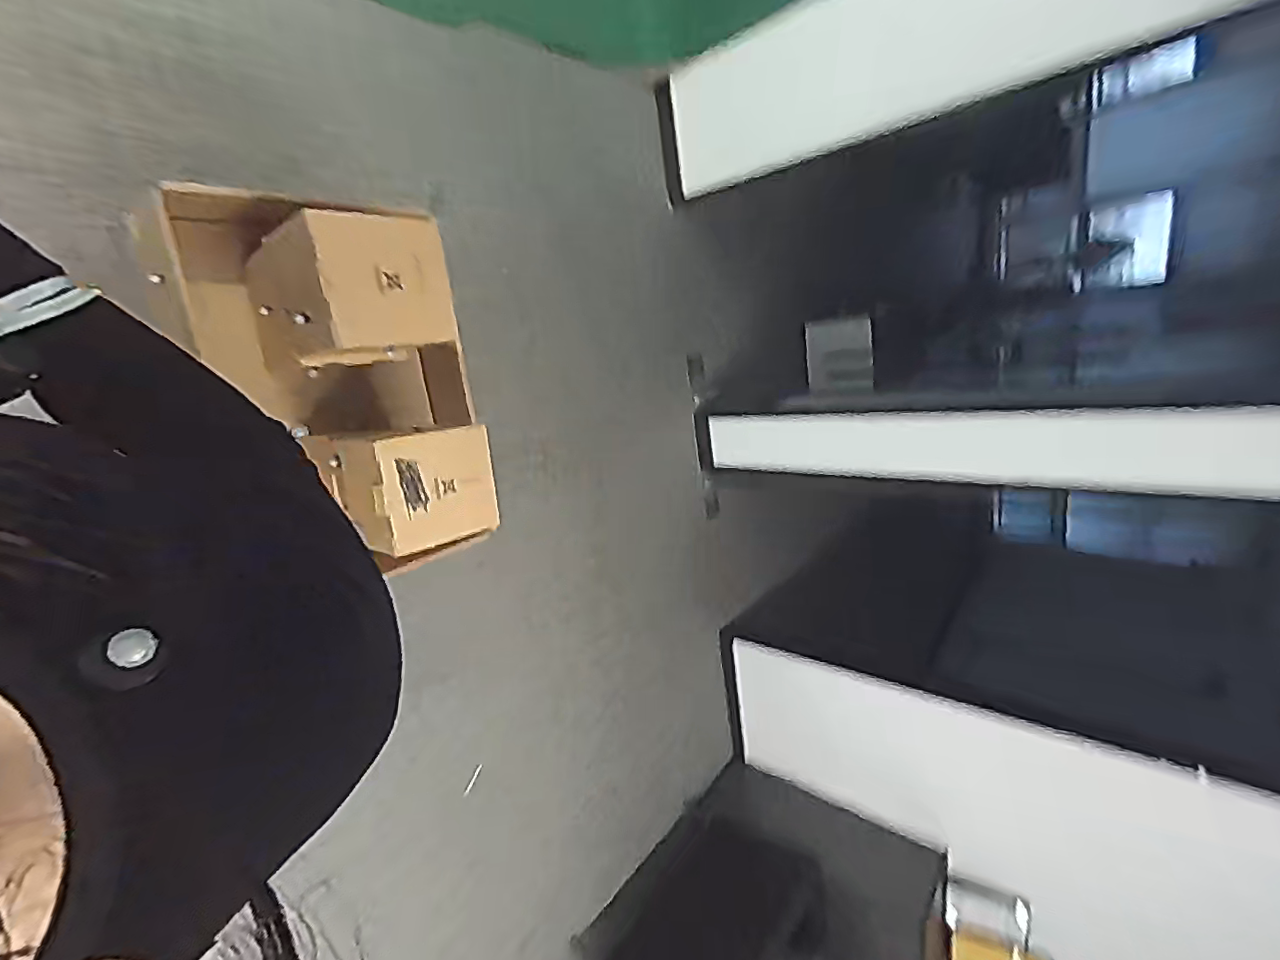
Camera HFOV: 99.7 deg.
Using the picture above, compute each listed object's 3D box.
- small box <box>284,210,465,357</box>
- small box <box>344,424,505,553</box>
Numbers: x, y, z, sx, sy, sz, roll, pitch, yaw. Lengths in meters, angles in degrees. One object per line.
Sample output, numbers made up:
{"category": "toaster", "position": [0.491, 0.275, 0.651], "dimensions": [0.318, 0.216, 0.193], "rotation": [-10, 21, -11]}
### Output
{"category": "small box", "position": [-0.385, -0.270, 0.778], "dimensions": [0.179, 0.176, 0.168], "rotation": [-20, 109, -46]}
{"category": "small box", "position": [-0.343, 0.004, 0.852], "dimensions": [0.179, 0.176, 0.168], "rotation": [-17, 106, -46]}
